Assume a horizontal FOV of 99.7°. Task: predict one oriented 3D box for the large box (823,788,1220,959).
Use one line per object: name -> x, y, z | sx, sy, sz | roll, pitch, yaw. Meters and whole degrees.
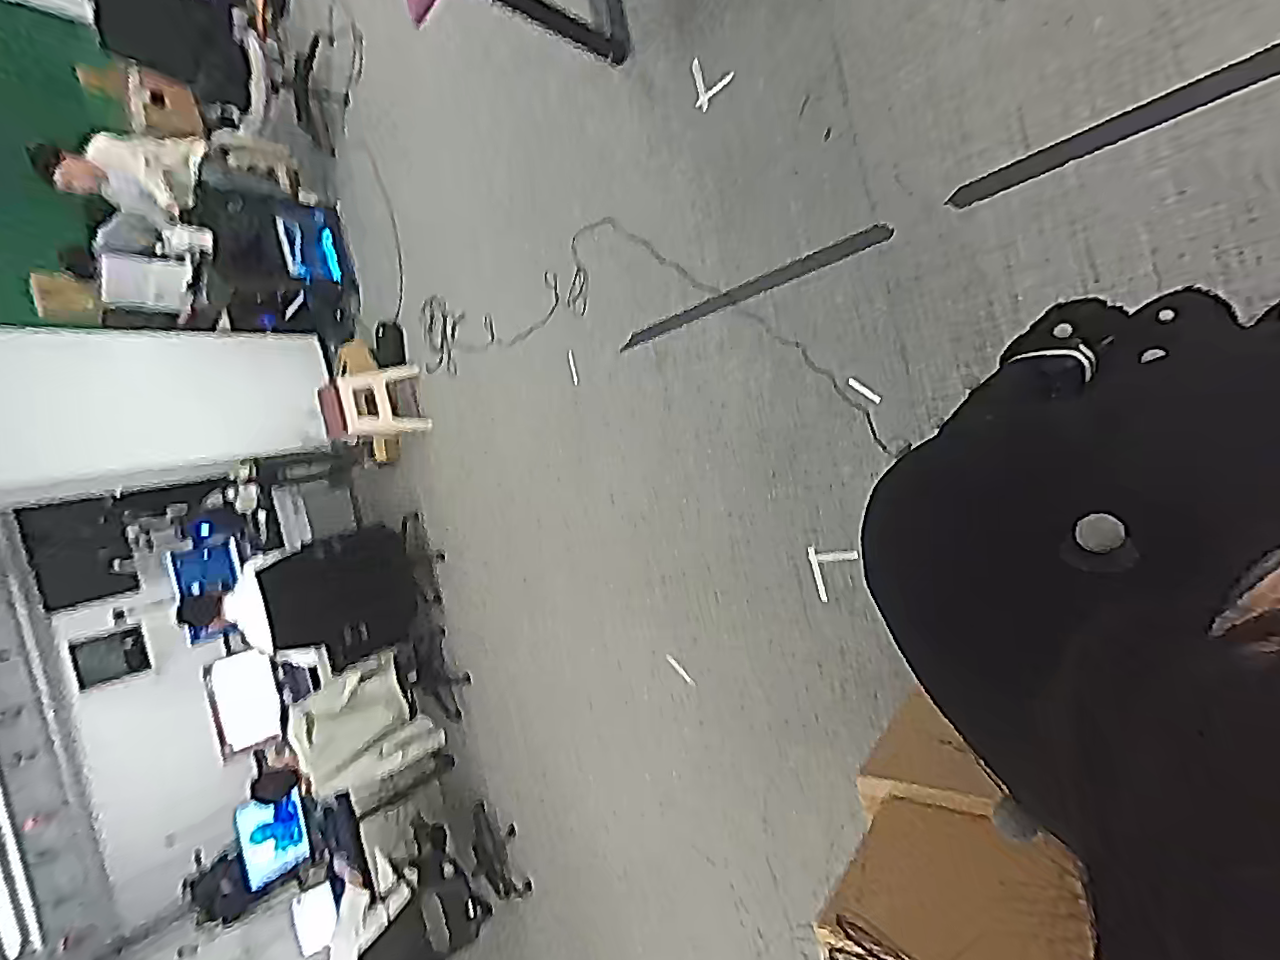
large box -> 0.545, 0.703, 0.760 | 0.408, 0.320, 0.320 | -15, 90, 45
